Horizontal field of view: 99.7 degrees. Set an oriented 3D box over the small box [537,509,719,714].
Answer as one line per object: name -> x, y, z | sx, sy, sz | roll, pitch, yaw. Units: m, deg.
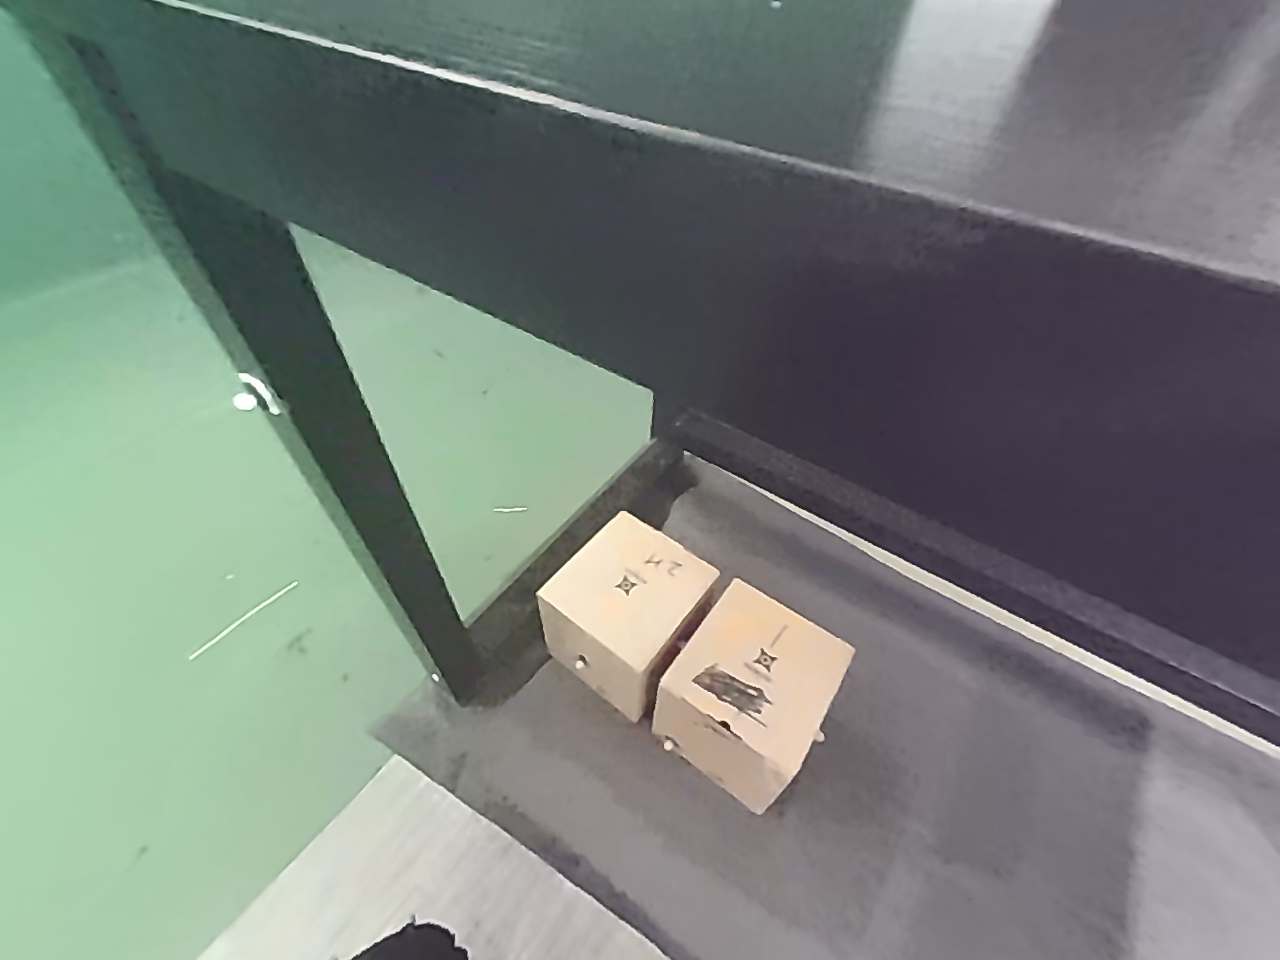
small box -> -0.014, 0.181, 0.736 | 0.168, 0.176, 0.179 | 32, 53, 22
